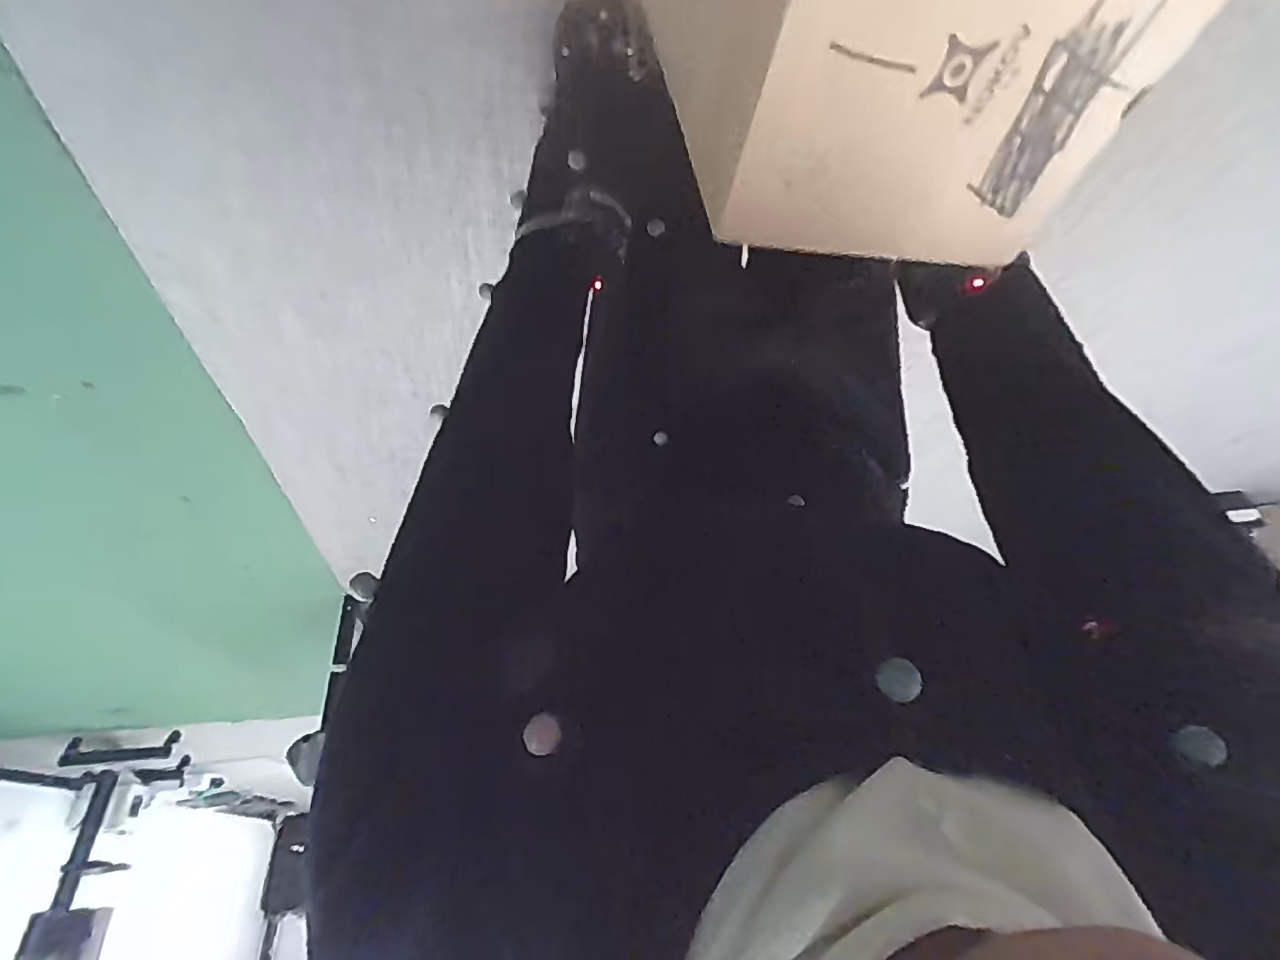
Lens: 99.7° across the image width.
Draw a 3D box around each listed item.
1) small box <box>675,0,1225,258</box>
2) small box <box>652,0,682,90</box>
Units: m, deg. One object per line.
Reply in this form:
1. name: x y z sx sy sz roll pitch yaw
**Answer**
1. small box: 0.126 -0.234 0.259 0.179 0.176 0.168 0 147 -11
2. small box: 0.101 -0.377 0.342 0.168 0.176 0.179 -2 149 -9
